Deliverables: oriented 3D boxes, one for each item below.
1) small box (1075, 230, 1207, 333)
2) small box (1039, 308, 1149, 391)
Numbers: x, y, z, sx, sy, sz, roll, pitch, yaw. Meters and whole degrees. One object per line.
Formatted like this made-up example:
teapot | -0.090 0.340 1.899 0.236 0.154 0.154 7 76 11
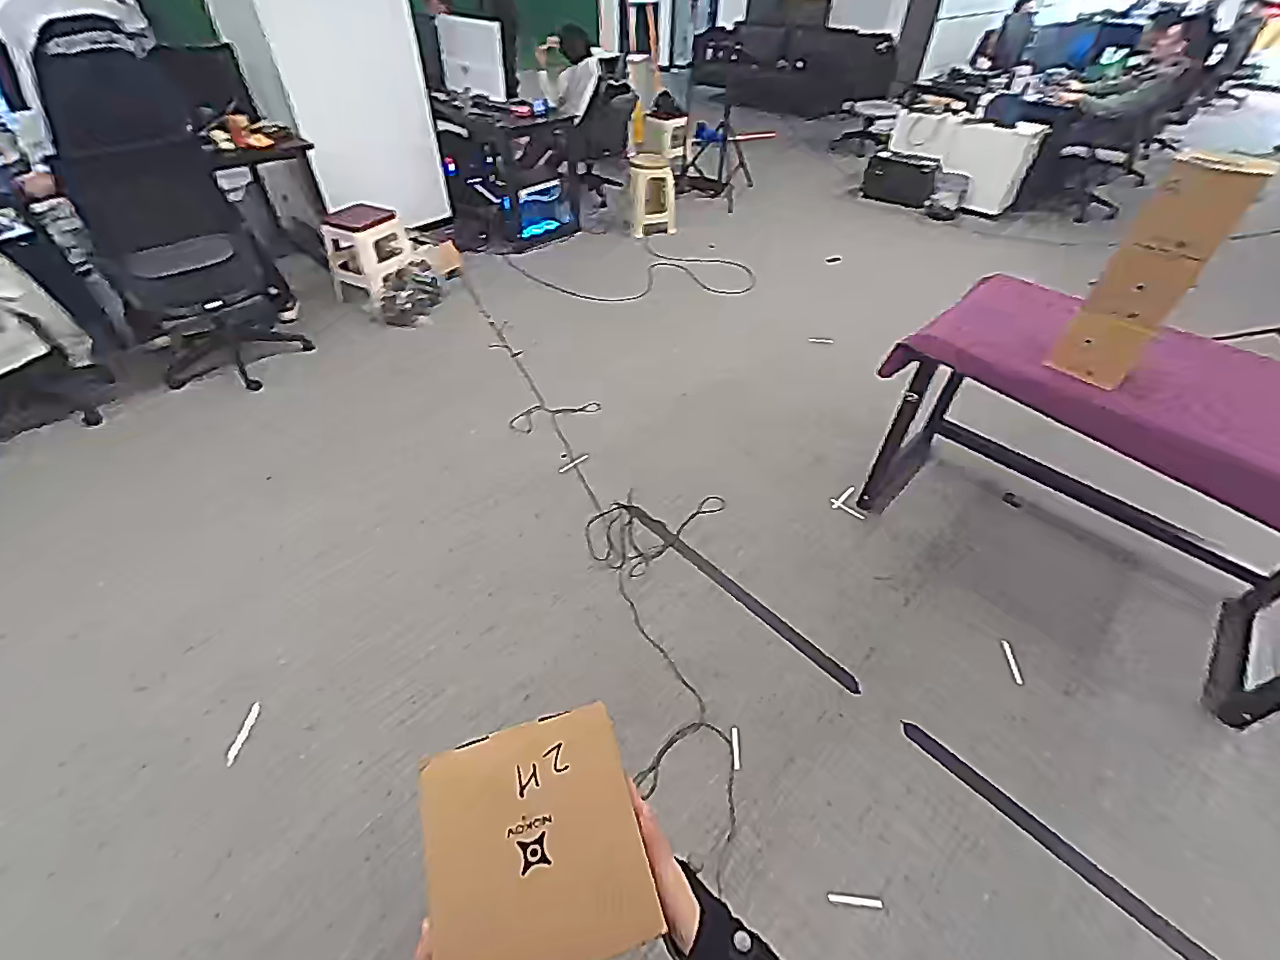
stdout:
small box | 1.204 -0.480 1.311 0.168 0.176 0.179 35 53 29
small box | 1.196 -0.358 1.420 0.179 0.176 0.168 -32 54 -31
